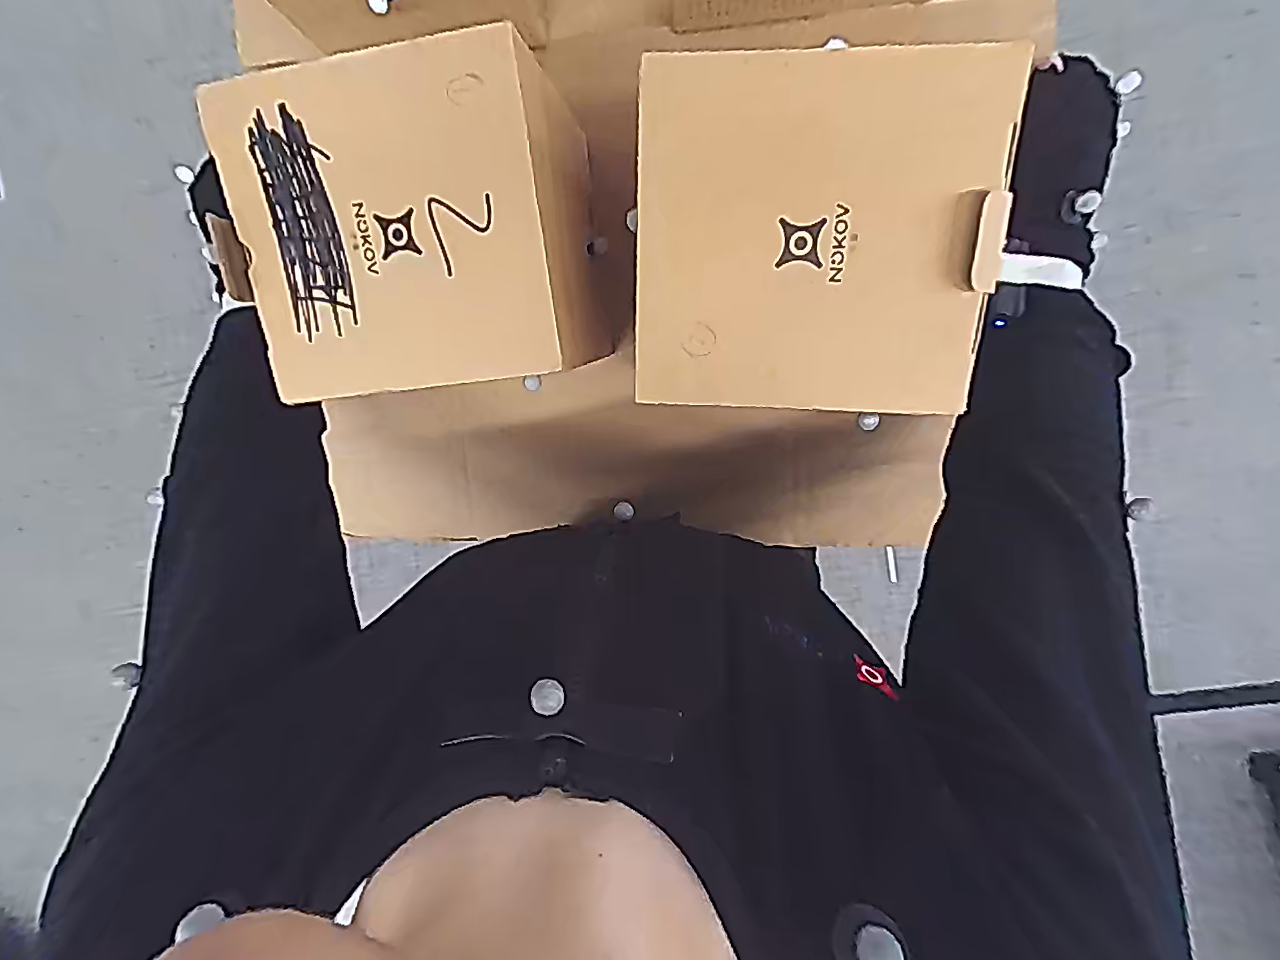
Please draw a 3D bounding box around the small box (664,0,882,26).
[{"bbox_3d":[0.094,-0.395,0.294,0.179,0.176,0.168,1,99,8],"label":"small box"}]

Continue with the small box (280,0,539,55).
[{"bbox_3d":[-0.166,-0.398,0.327,0.168,0.176,0.179,-1,98,7],"label":"small box"}]
